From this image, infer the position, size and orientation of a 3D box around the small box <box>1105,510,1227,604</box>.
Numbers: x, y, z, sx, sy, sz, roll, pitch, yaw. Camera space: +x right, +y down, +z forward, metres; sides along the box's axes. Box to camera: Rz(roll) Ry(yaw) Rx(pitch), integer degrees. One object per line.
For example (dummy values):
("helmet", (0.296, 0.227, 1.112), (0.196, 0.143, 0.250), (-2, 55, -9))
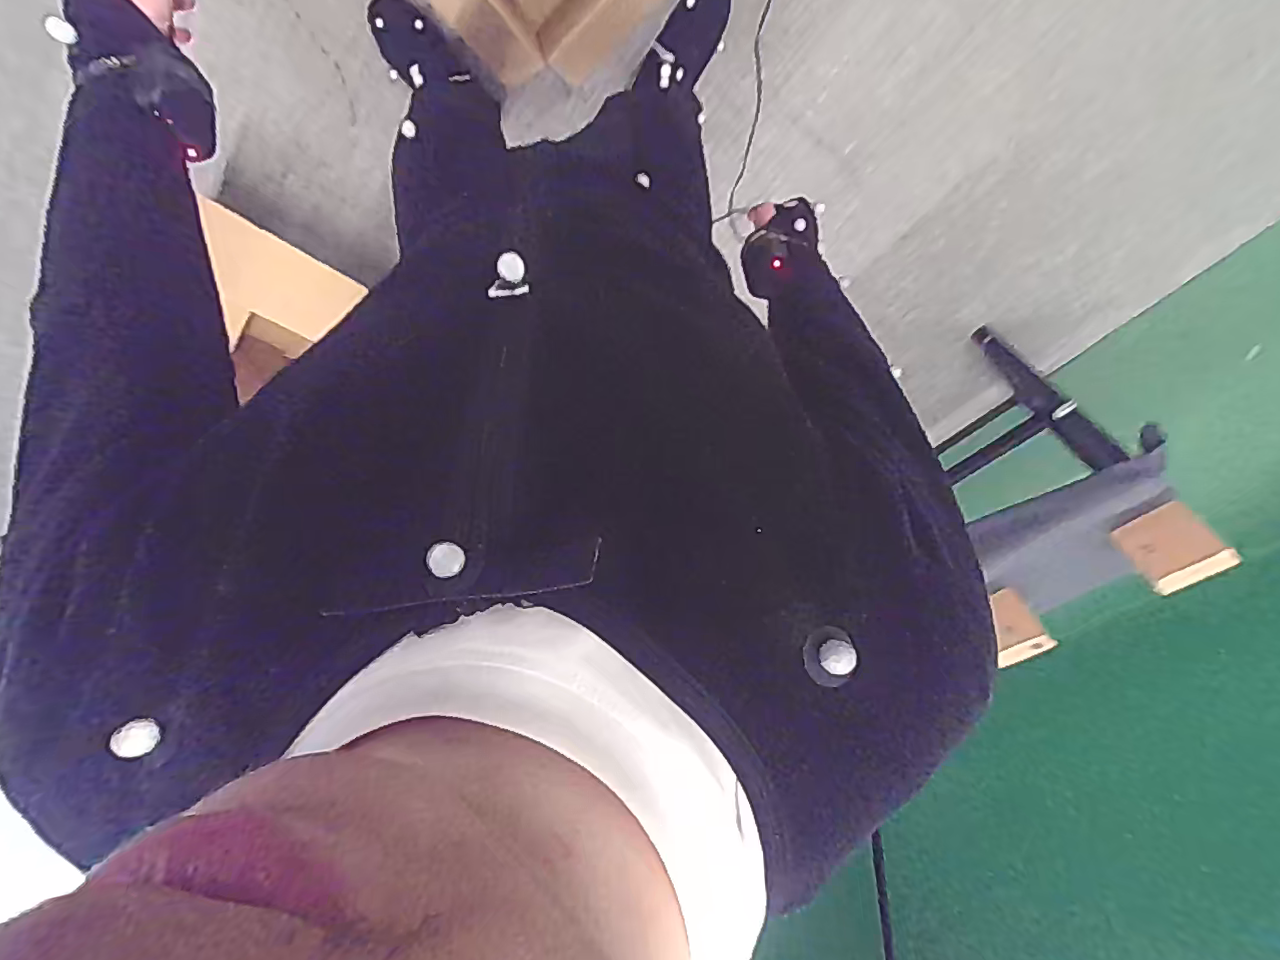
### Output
("small box", (1.443, 0.215, 1.497), (0.168, 0.176, 0.179), (23, 126, -34))

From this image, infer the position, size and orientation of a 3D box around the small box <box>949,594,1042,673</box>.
("small box", (1.142, 0.491, 1.741), (0.179, 0.176, 0.168), (-35, 132, 23))
